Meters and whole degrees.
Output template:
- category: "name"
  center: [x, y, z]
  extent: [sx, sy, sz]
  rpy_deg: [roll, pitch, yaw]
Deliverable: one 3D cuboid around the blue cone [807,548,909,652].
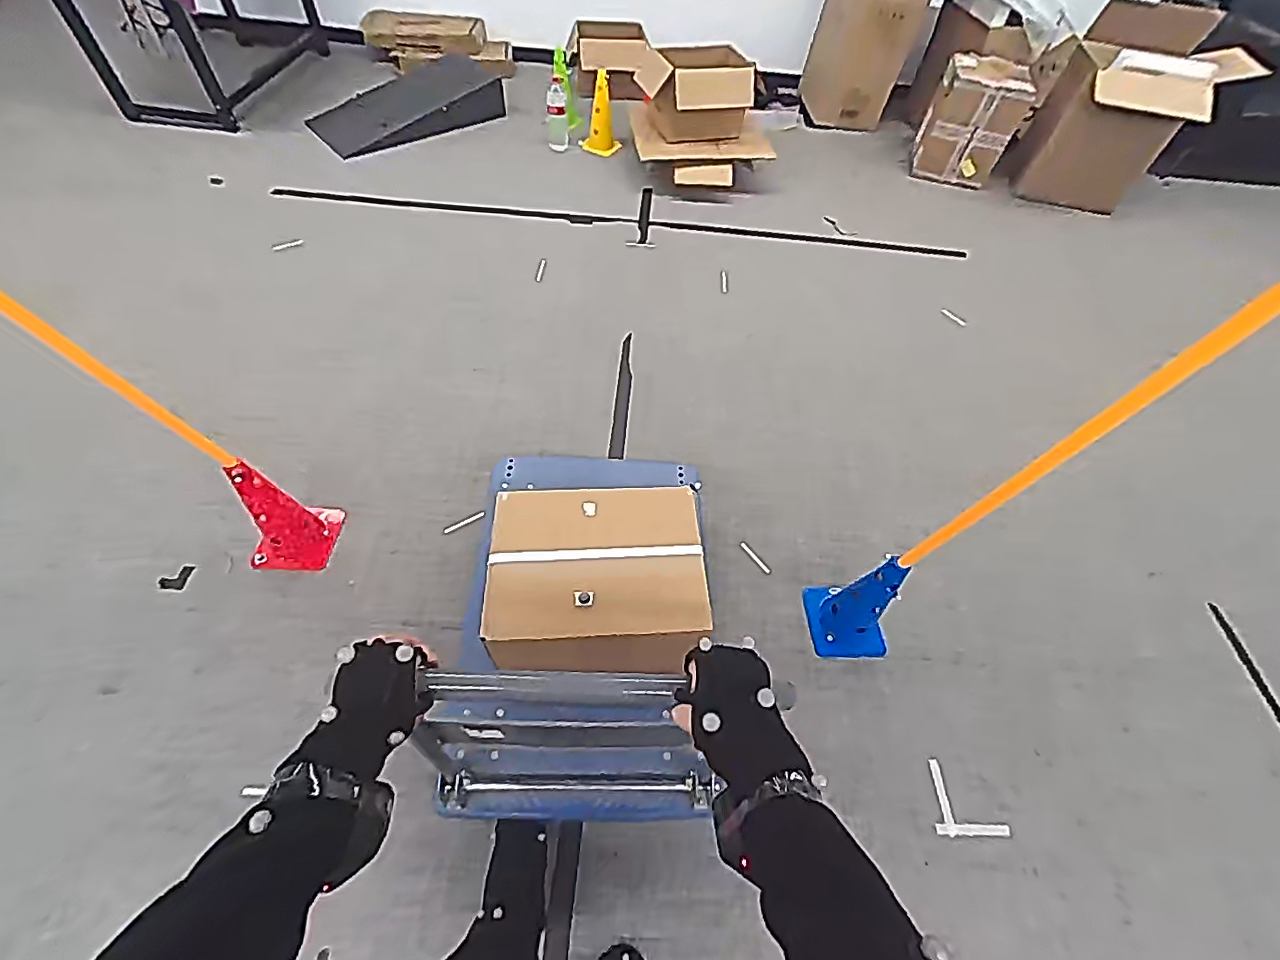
- category: "blue cone"
  center: [0.584, 0.287, 1.371]
  extent: [0.193, 0.380, 0.192]
  rpy_deg: [2, 54, -4]
